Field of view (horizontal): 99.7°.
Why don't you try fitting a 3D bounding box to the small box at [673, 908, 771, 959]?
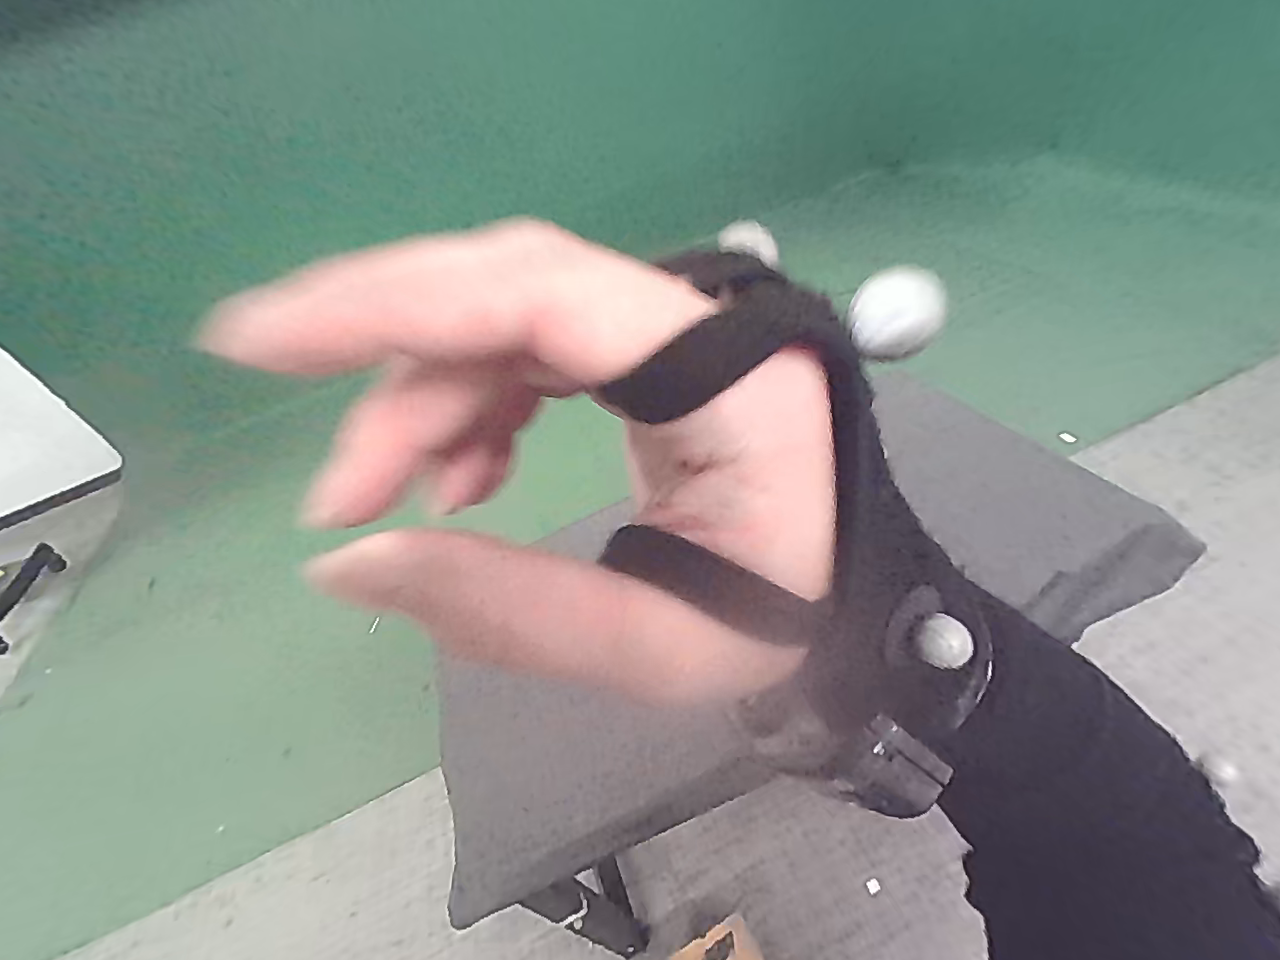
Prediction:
[{"bbox_3d":[0.188,1.003,1.071,0.168,0.176,0.179,-27,42,-8],"label":"small box"}]
